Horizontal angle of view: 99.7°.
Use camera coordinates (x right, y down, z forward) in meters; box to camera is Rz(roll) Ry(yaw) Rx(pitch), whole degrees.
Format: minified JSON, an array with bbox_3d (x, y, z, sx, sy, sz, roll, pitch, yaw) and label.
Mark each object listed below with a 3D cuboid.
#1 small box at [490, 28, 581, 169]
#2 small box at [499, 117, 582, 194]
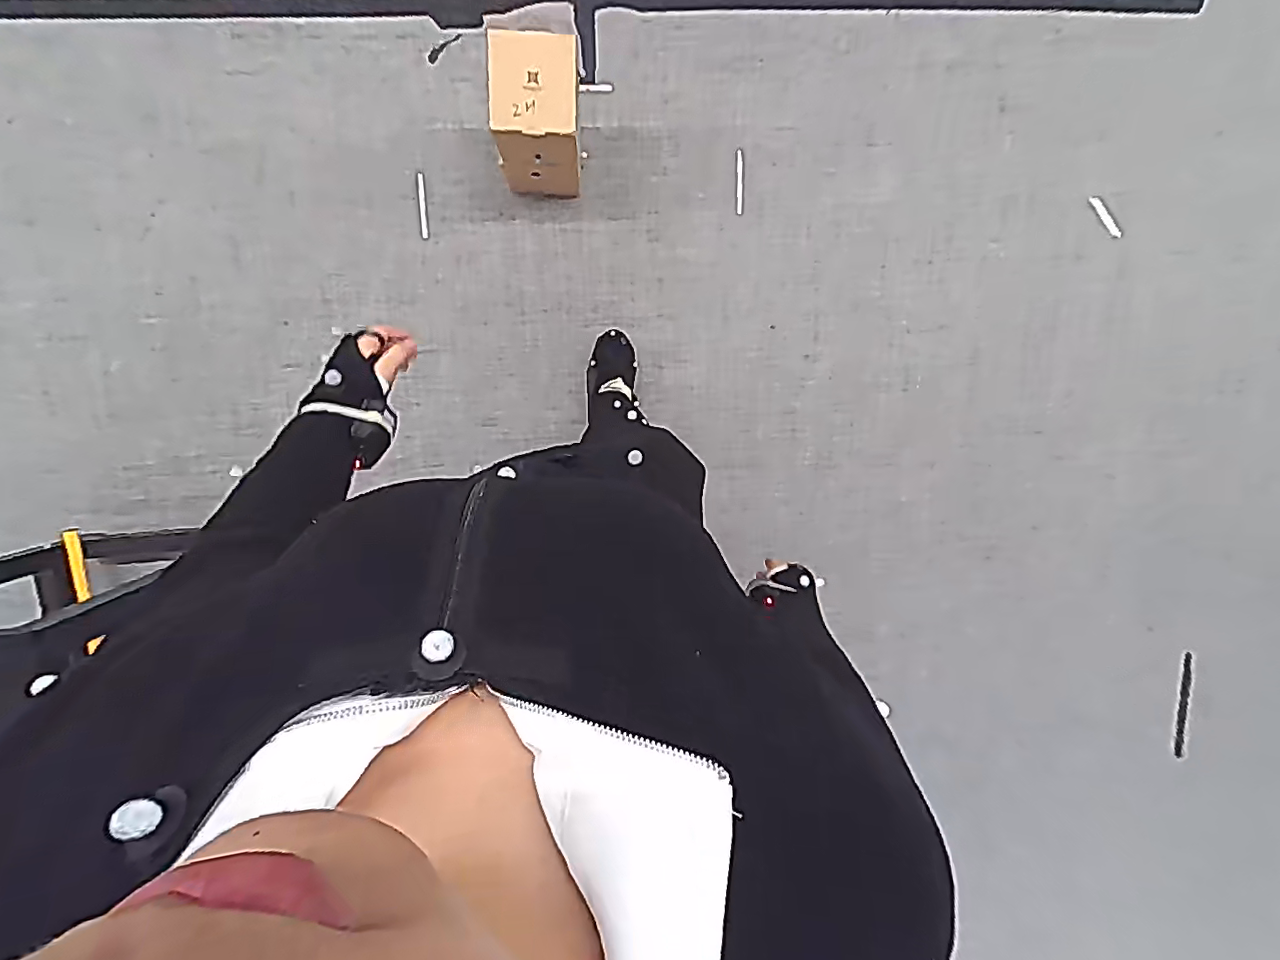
[{"bbox_3d":[-0.207,-0.764,1.099,0.168,0.176,0.179,1,100,-4],"label":"small box"},{"bbox_3d":[-0.226,-0.785,1.261,0.179,0.176,0.168,1,100,-5],"label":"small box"}]
